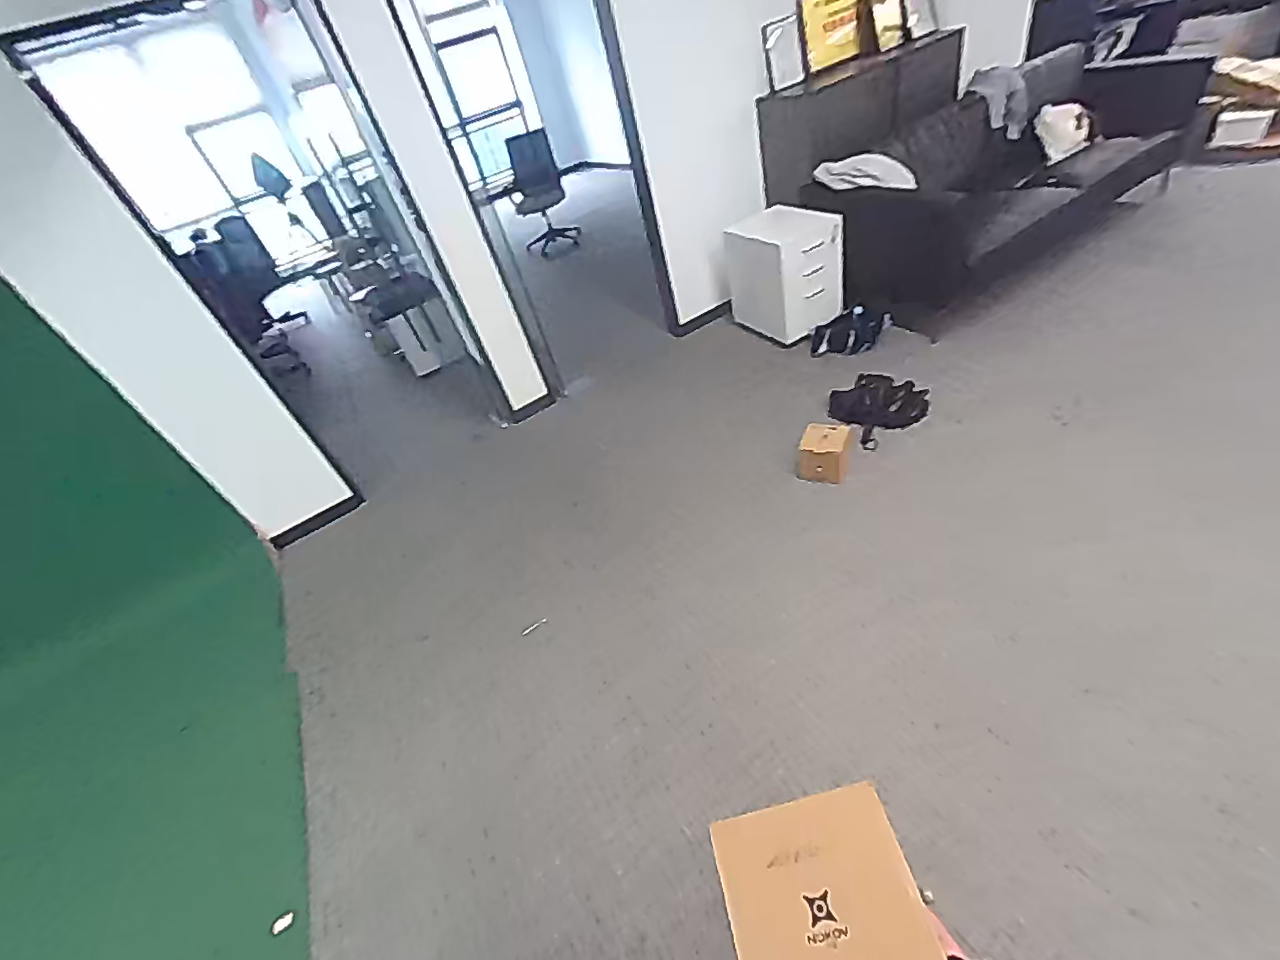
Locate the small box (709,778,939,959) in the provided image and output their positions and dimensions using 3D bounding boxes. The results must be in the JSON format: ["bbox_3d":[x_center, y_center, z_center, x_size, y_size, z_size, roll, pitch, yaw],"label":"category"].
[{"bbox_3d":[0.183,0.424,0.537,0.168,0.176,0.179,-19,48,6],"label":"small box"}]
